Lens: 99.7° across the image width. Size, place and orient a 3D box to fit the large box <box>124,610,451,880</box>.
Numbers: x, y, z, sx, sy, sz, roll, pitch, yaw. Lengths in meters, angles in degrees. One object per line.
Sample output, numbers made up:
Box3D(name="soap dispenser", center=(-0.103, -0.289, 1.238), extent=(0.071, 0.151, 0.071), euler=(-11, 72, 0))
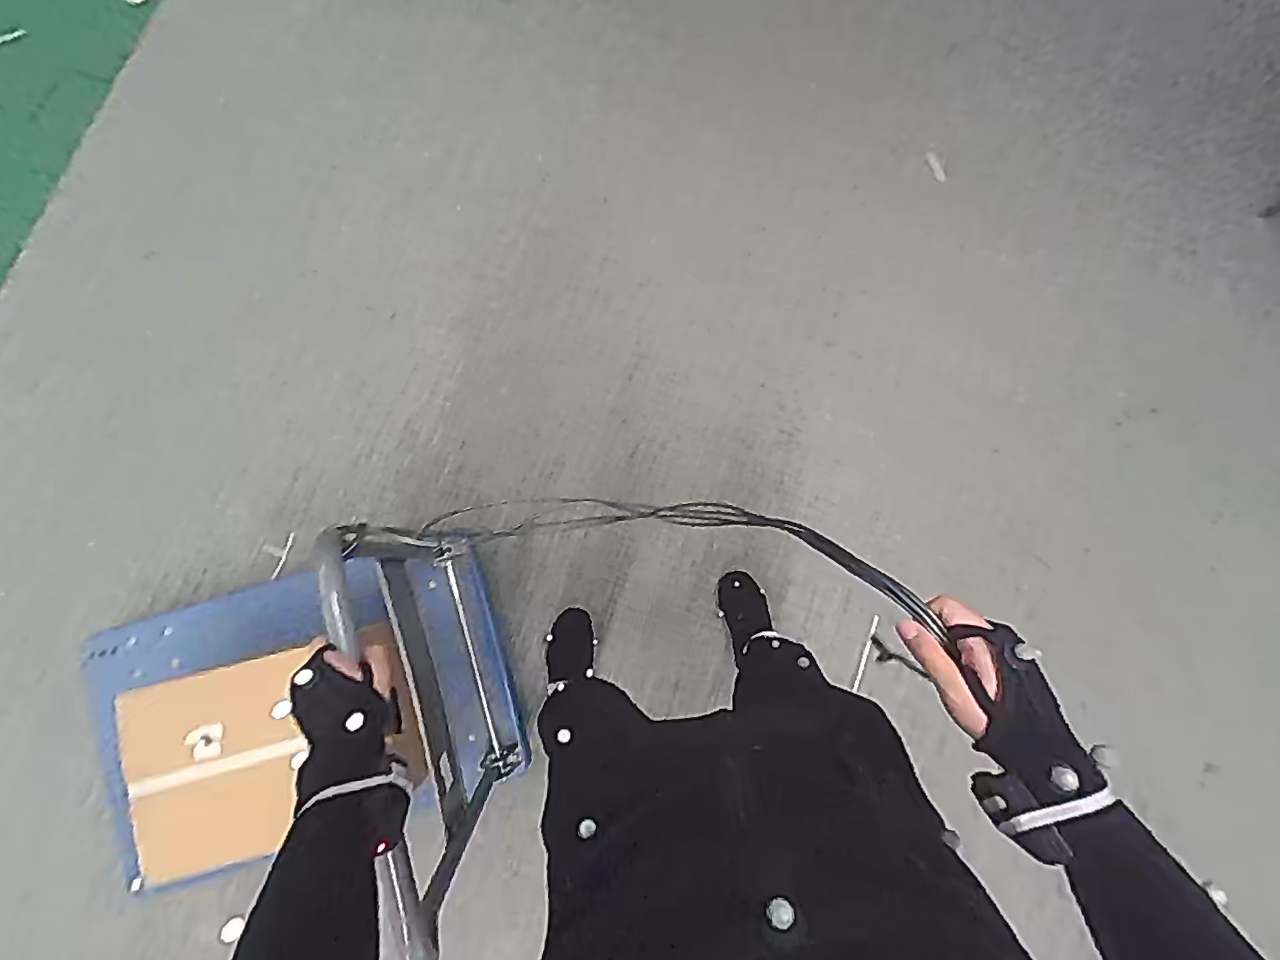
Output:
Box3D(name="large box", center=(-0.637, 0.469, 1.045), extent=(0.408, 0.320, 0.320), euler=(-13, 84, -3))
